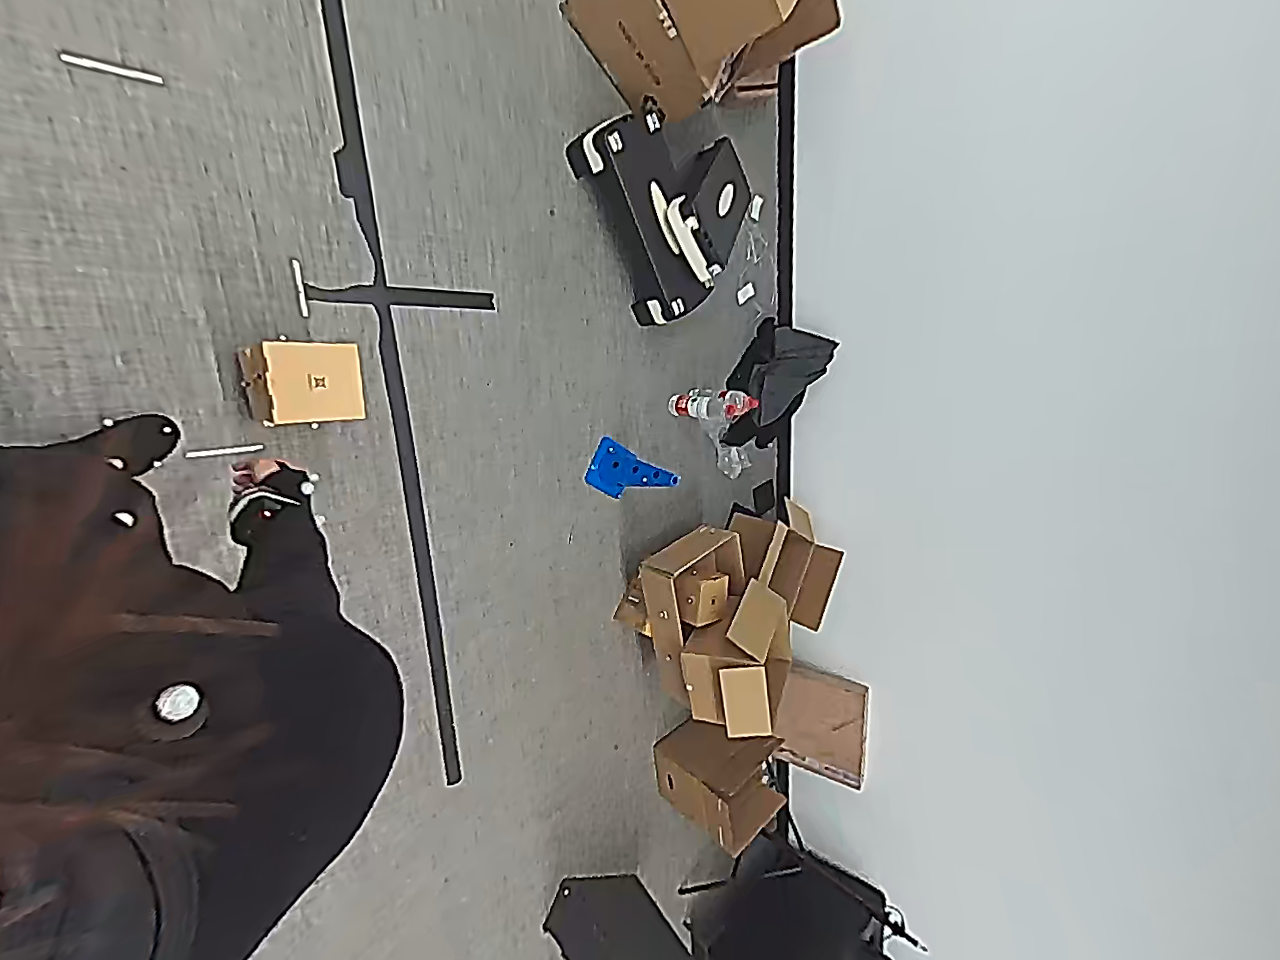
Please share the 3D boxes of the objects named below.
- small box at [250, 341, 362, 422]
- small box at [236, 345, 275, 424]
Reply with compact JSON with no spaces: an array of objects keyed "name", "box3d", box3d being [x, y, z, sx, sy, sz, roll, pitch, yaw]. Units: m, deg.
[{"name":"small box","box3d":[-0.739,-0.220,1.198,0.179,0.176,0.168,-10,105,-40]},{"name":"small box","box3d":[-0.857,-0.239,1.310,0.168,0.176,0.179,-16,108,-39]}]
